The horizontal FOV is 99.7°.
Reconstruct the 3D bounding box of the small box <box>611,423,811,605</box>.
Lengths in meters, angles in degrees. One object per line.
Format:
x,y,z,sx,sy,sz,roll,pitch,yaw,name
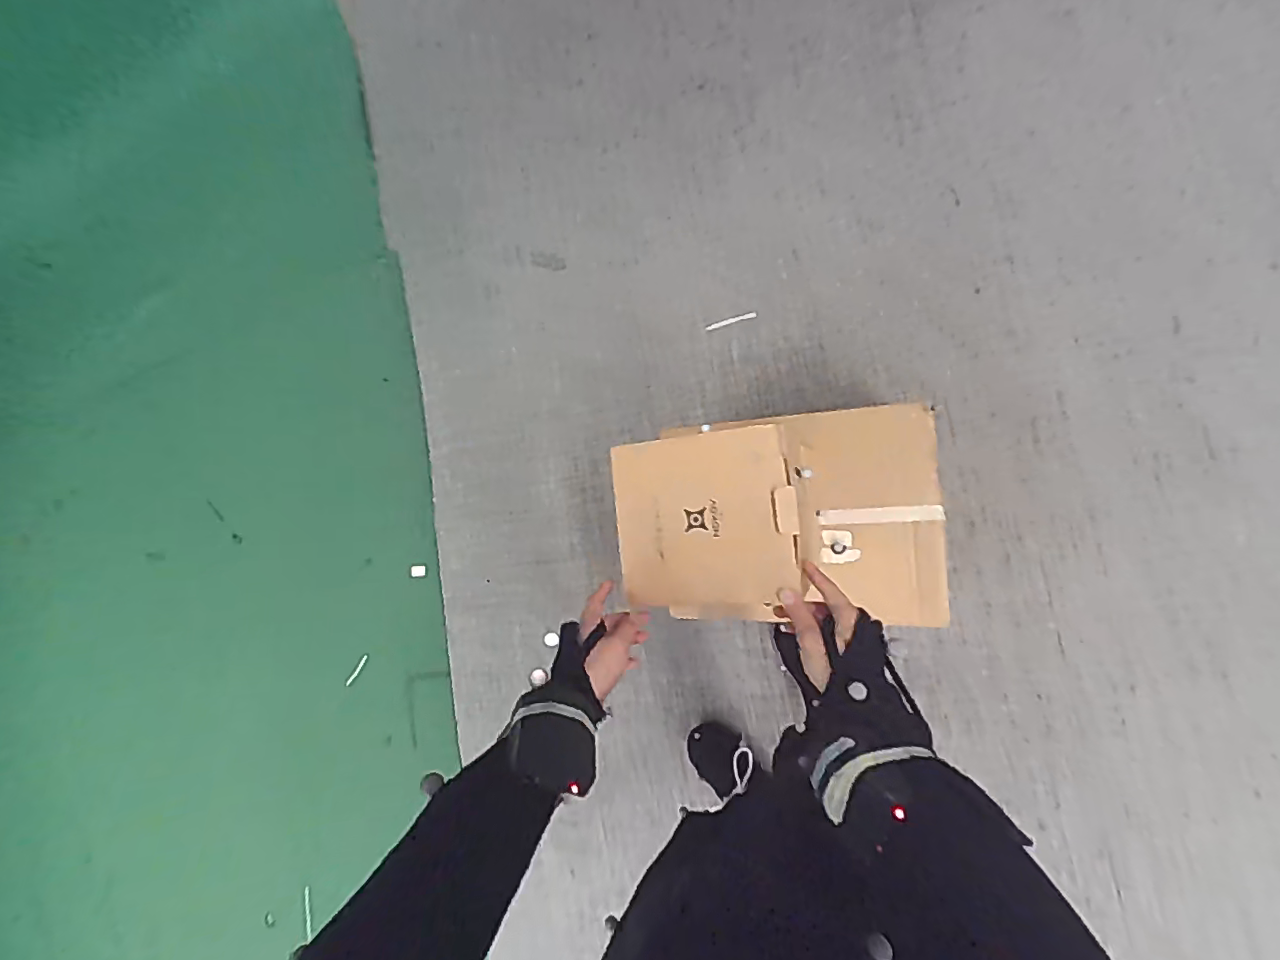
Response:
0.088,0.038,0.594,0.179,0.176,0.168,-8,85,23,small box

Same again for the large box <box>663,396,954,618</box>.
0.286,0.057,0.952,0.408,0.320,0.320,-5,87,21,large box
